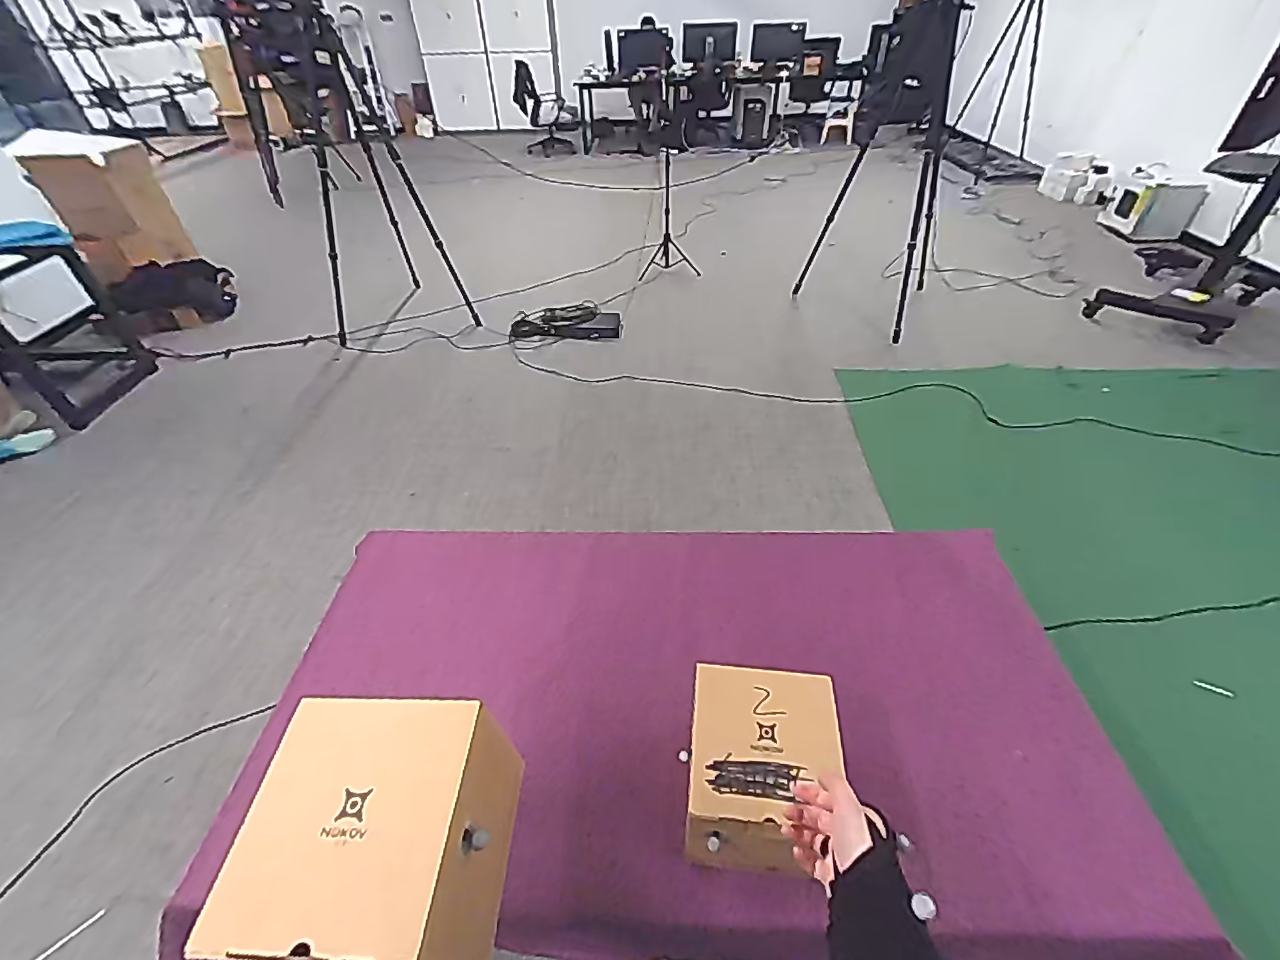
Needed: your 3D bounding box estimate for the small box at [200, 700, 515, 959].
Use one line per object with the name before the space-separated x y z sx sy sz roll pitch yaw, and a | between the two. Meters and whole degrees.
small box | -0.220 0.319 0.487 0.168 0.176 0.179 -1 47 5
